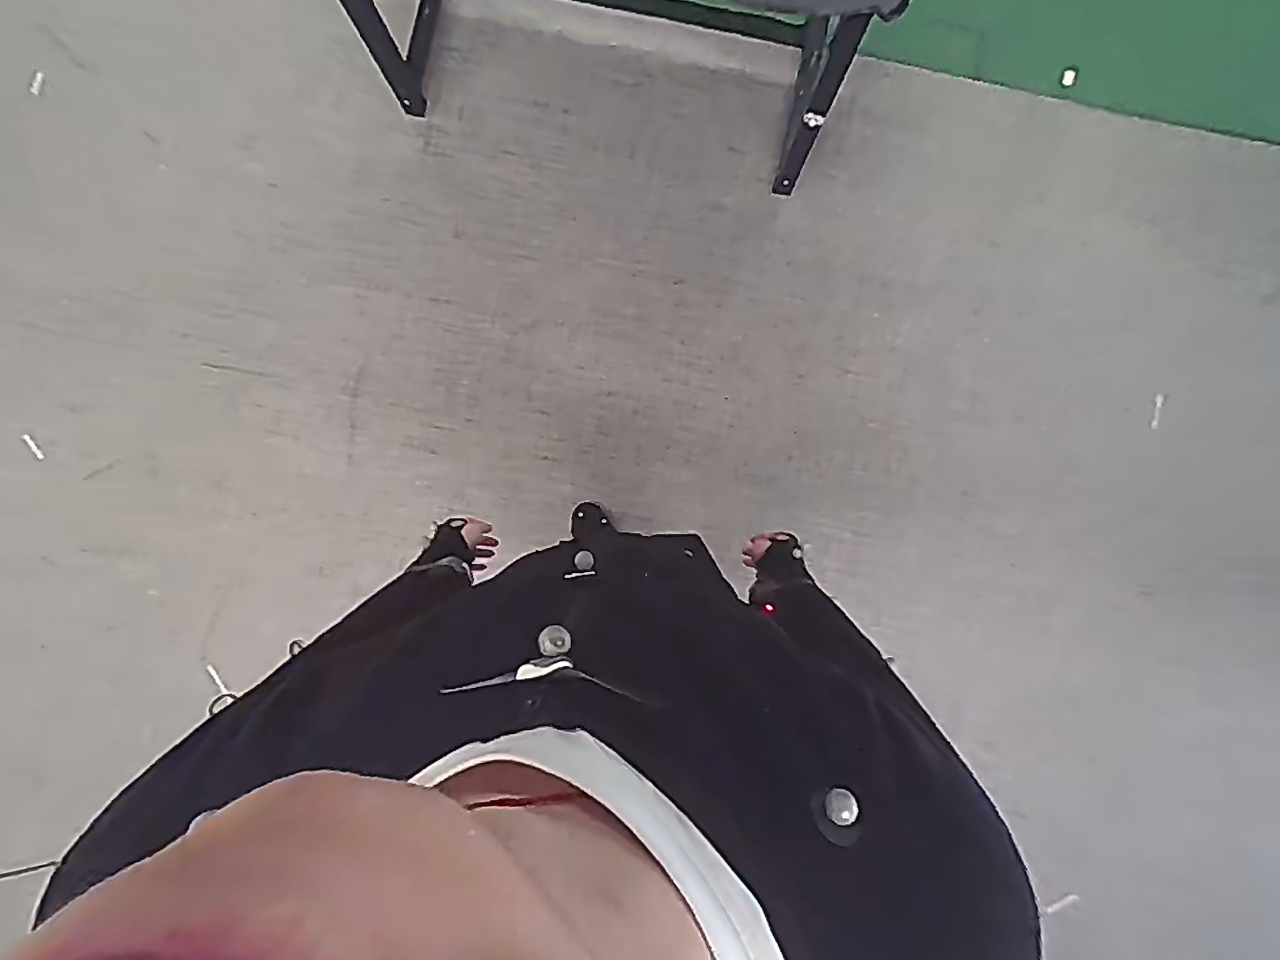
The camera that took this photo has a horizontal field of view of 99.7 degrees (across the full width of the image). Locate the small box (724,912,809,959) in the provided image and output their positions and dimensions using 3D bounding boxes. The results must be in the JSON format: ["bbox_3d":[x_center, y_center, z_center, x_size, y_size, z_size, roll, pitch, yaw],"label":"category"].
[{"bbox_3d":[0.296,1.170,1.269,0.168,0.176,0.179,11,88,0],"label":"small box"}]

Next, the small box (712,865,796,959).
[{"bbox_3d":[0.293,1.177,1.431,0.168,0.176,0.179,14,87,-1],"label":"small box"}]
